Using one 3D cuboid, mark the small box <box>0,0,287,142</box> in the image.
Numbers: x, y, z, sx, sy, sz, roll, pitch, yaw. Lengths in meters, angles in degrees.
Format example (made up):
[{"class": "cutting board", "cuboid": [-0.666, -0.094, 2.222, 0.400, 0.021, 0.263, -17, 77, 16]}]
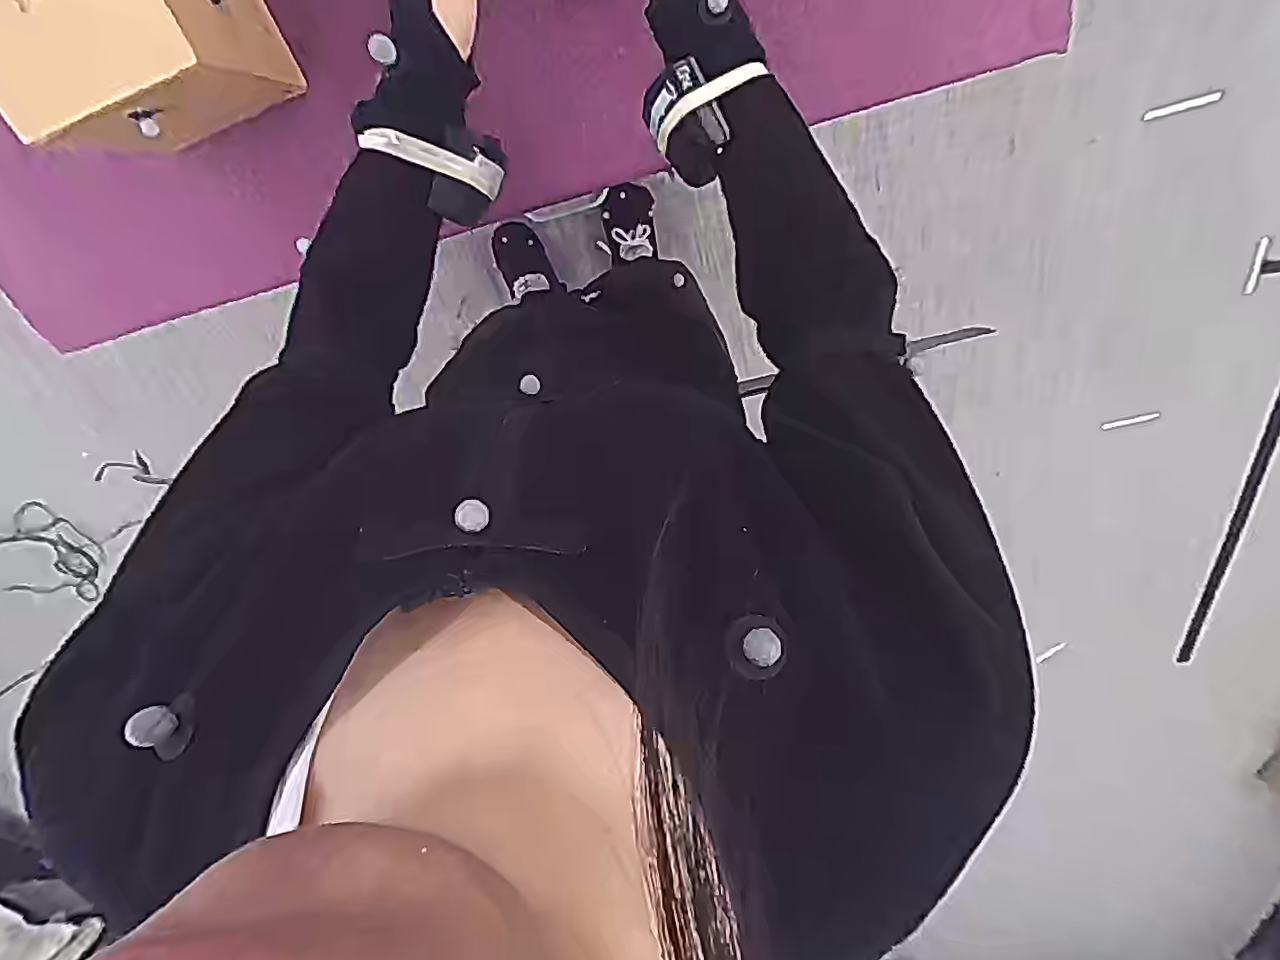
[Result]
[{"class": "small box", "cuboid": [-0.441, -0.405, 0.452, 0.179, 0.176, 0.168, -16, 120, 9]}]
